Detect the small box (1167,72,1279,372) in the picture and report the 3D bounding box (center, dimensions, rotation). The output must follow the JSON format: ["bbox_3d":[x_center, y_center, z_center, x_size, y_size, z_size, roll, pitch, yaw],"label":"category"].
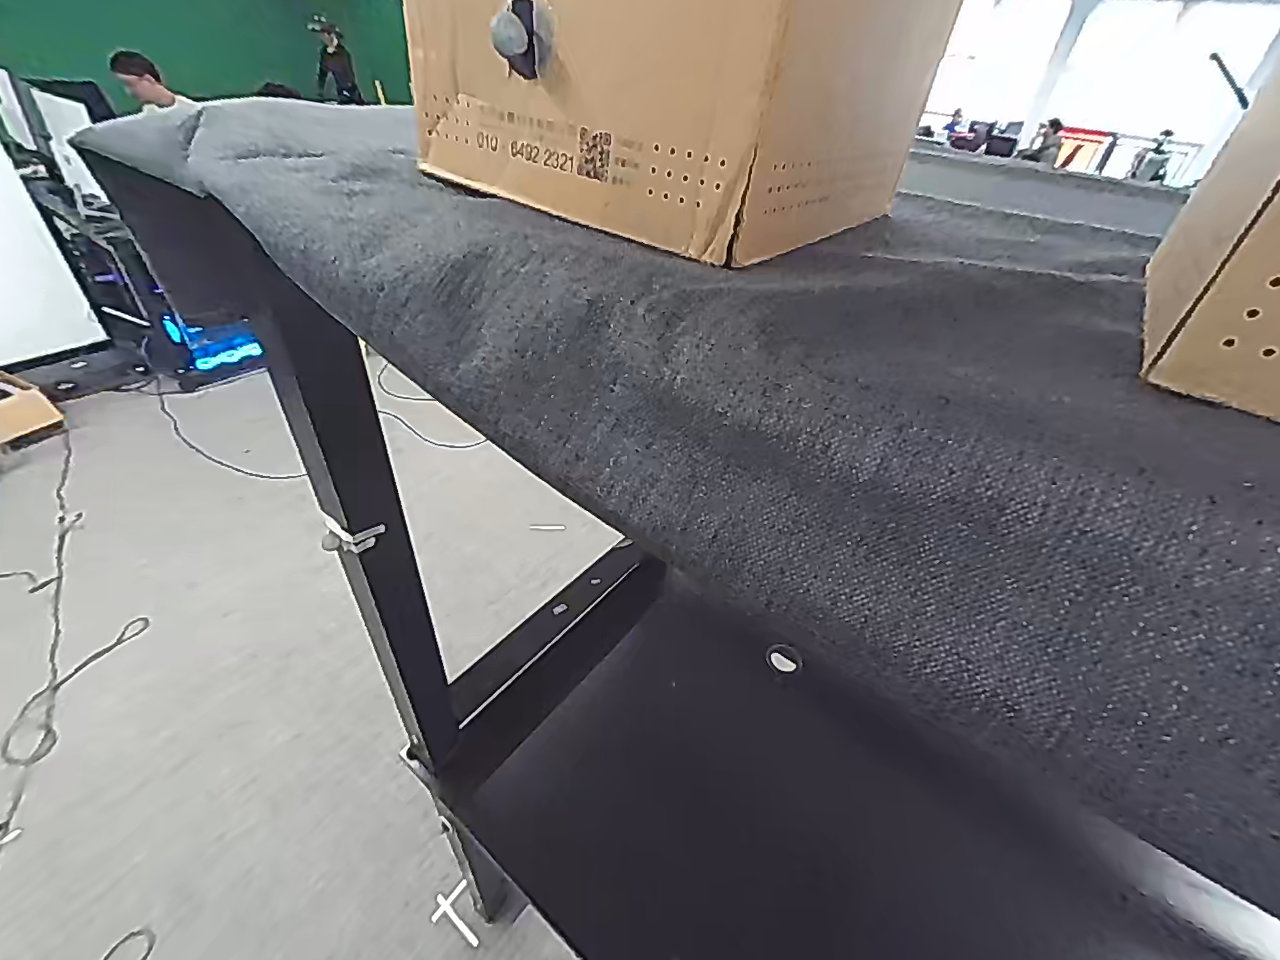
[{"bbox_3d":[0.245,-0.093,0.096,0.168,0.176,0.179,29,41,28],"label":"small box"}]

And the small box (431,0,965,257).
[{"bbox_3d":[0.029,-0.207,0.219,0.168,0.176,0.179,28,42,25],"label":"small box"}]
